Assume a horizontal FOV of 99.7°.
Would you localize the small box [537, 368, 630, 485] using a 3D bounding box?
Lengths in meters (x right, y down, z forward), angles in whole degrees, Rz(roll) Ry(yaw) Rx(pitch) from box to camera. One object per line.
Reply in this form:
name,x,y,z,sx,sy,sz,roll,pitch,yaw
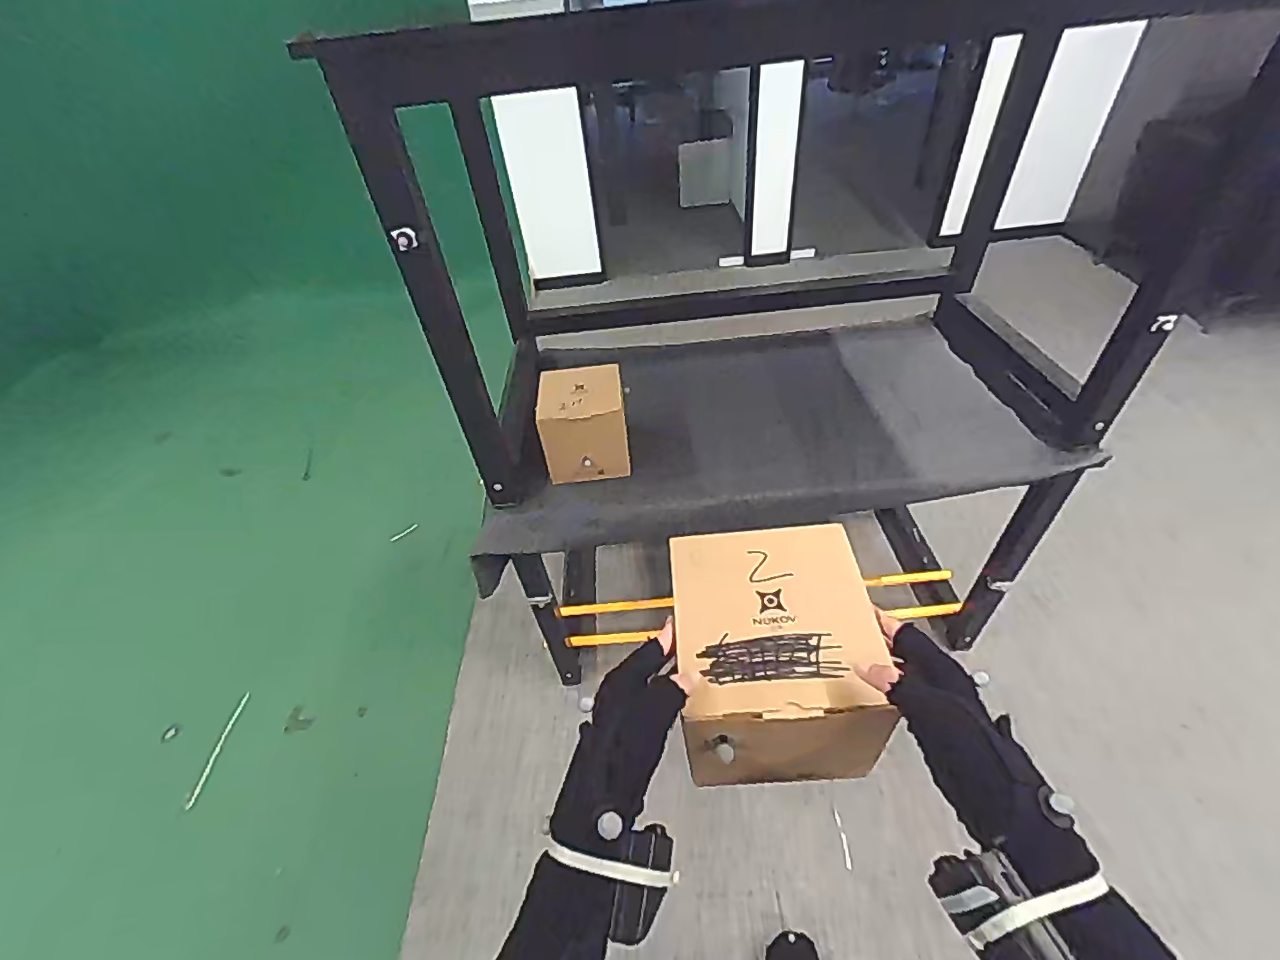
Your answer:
small box,-0.112,-0.111,1.126,0.168,0.176,0.179,-7,43,0
